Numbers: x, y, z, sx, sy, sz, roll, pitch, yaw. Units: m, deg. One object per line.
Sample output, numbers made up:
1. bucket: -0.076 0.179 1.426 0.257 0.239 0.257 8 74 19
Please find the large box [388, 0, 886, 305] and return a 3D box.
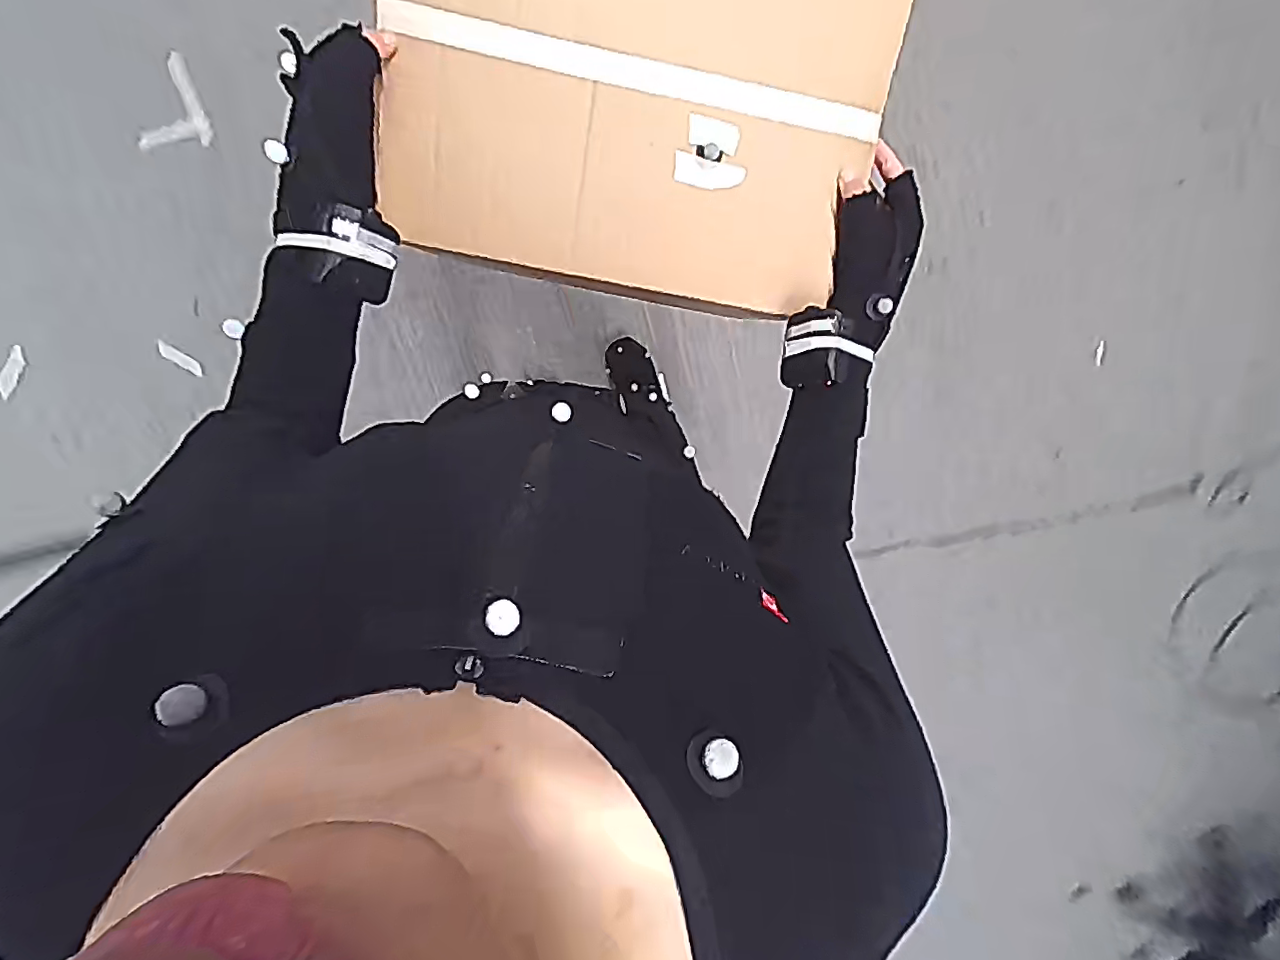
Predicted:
1. large box: -0.017 -0.378 0.591 0.408 0.320 0.320 7 108 -7
